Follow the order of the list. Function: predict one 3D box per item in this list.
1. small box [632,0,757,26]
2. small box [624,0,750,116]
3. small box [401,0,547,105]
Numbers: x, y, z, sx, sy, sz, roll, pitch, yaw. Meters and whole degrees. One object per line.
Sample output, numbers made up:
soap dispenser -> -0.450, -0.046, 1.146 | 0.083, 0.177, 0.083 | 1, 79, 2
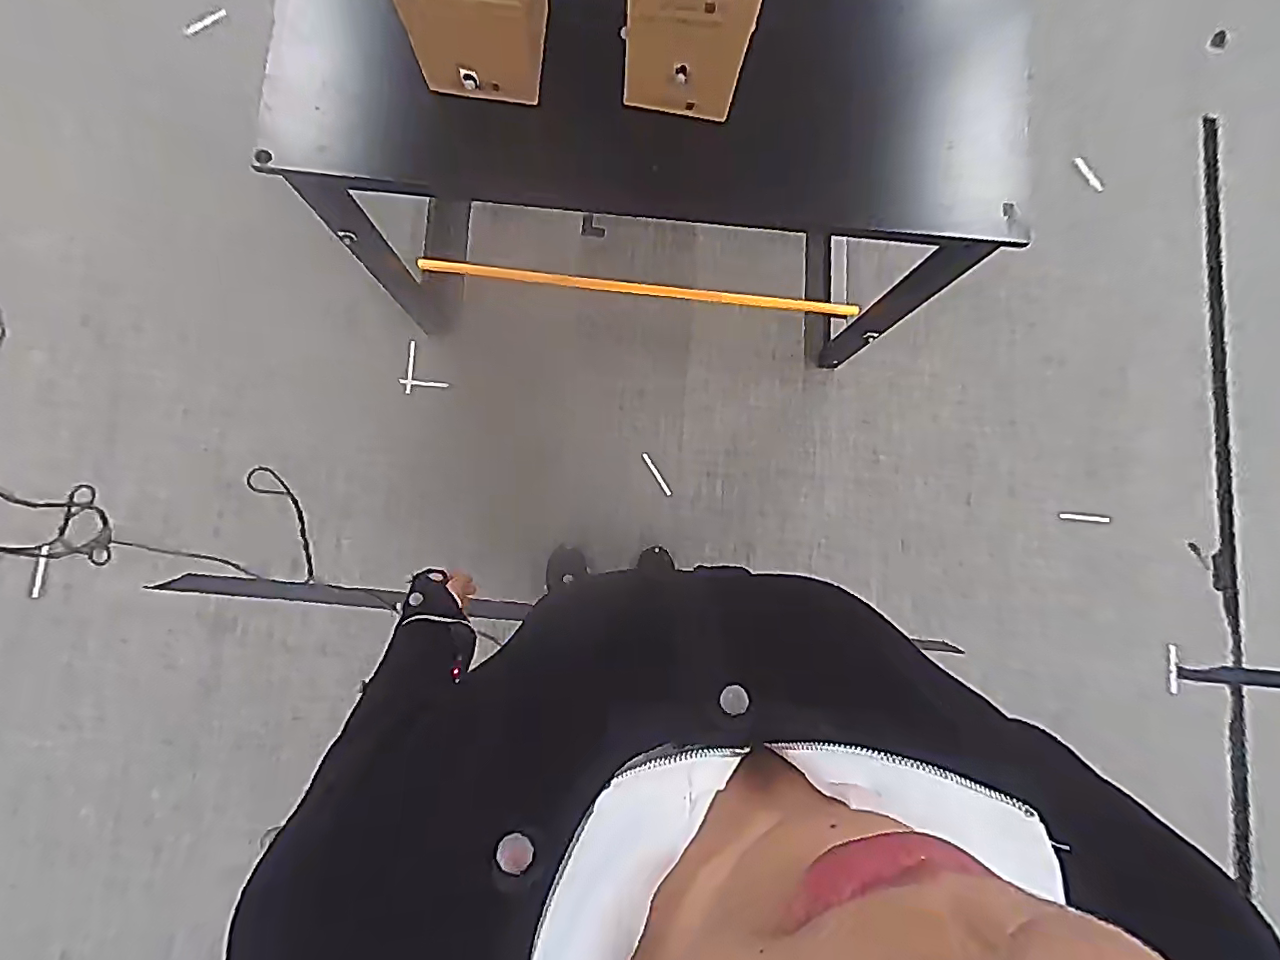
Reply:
small box -> 0.073, -0.680, 0.616 | 0.168, 0.176, 0.179 | 4, 84, -2
small box -> 0.070, -0.672, 0.782 | 0.168, 0.176, 0.179 | 8, 84, -2
small box -> -0.228, -0.682, 0.766 | 0.168, 0.176, 0.179 | 4, 85, -2
